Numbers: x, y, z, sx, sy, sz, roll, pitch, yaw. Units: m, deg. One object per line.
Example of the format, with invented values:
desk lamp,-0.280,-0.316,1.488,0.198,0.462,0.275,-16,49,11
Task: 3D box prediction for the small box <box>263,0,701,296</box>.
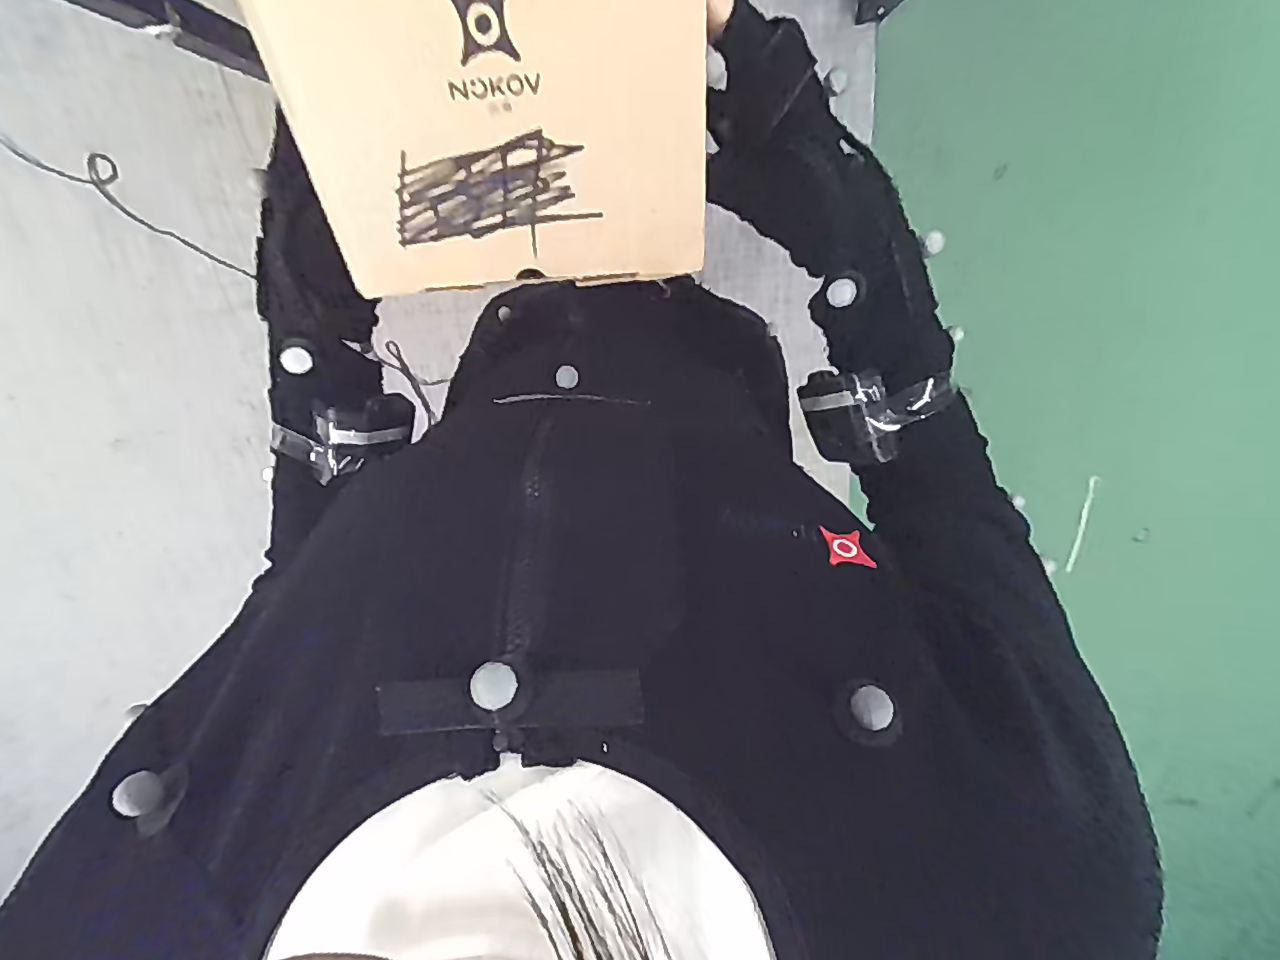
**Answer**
small box,-0.058,-0.213,0.277,0.168,0.176,0.179,-3,130,1
